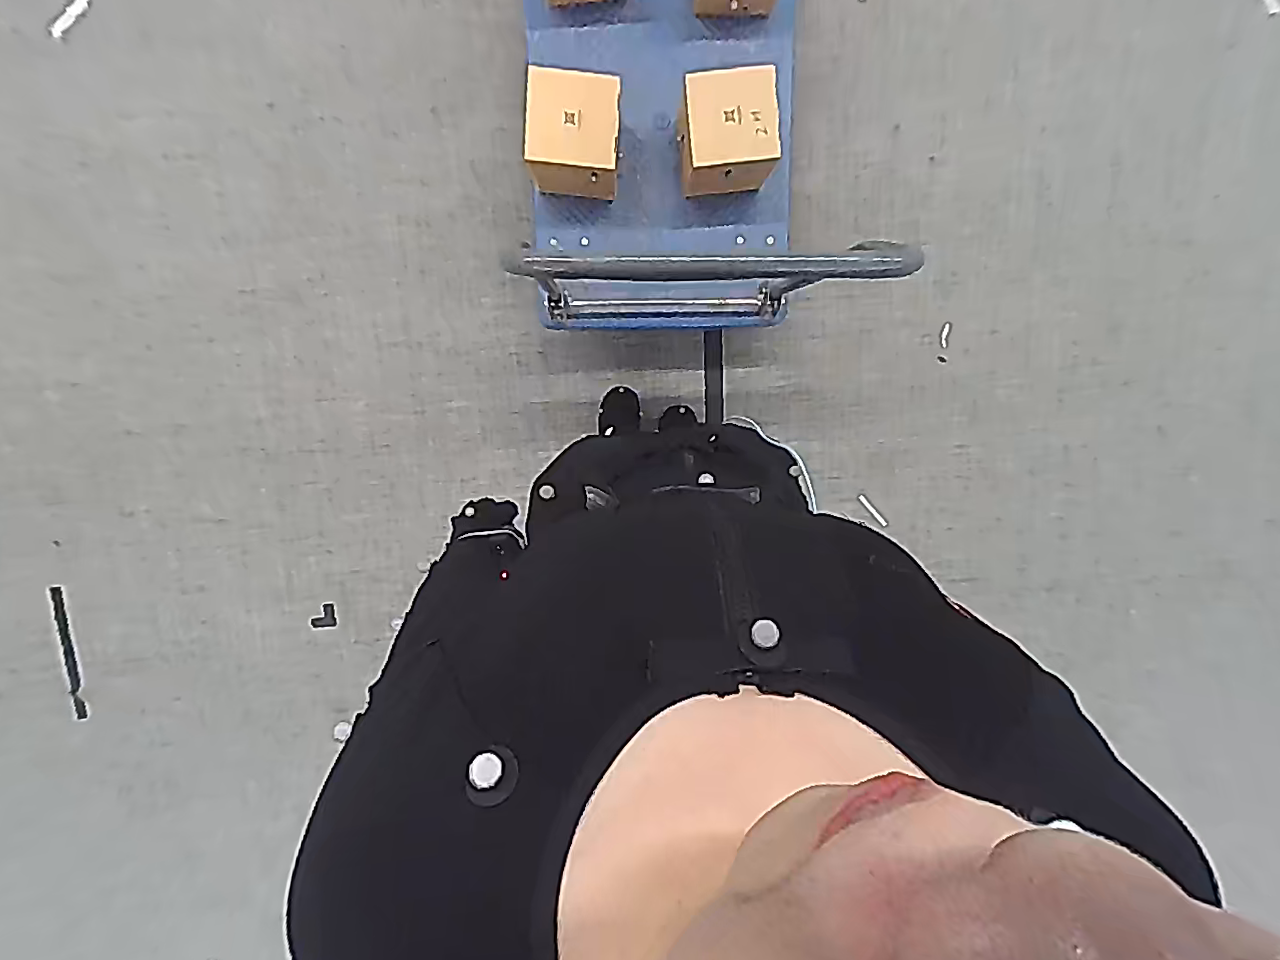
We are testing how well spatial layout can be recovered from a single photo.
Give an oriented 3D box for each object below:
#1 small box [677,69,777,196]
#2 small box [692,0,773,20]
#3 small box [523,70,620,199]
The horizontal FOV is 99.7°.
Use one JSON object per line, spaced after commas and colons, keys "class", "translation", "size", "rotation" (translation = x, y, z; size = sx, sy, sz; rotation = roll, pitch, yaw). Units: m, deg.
{"class": "small box", "translation": [0.172, -0.706, 1.118], "size": [0.179, 0.176, 0.168], "rotation": [-7, 100, -1]}
{"class": "small box", "translation": [0.193, -1.056, 1.059], "size": [0.168, 0.176, 0.179], "rotation": [-1, 101, -2]}
{"class": "small box", "translation": [-0.135, -0.696, 1.109], "size": [0.179, 0.176, 0.168], "rotation": [4, 99, -4]}
